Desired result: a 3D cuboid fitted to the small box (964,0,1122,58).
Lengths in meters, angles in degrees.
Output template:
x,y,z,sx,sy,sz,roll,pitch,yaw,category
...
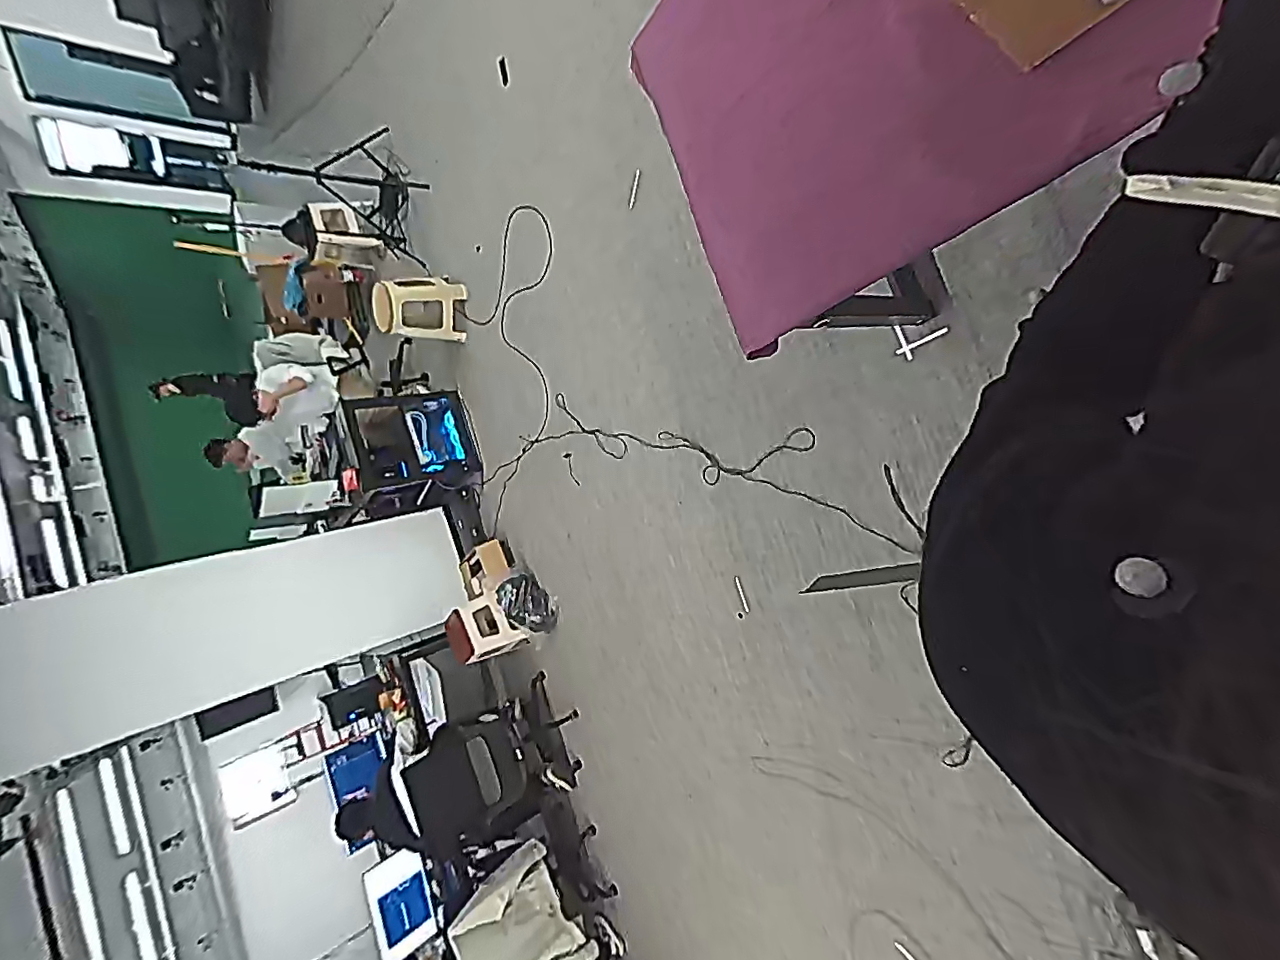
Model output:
x,y,z,sx,sy,sz,roll,pitch,yaw,category
0.389,-0.541,0.490,0.168,0.176,0.179,-21,84,51,small box
